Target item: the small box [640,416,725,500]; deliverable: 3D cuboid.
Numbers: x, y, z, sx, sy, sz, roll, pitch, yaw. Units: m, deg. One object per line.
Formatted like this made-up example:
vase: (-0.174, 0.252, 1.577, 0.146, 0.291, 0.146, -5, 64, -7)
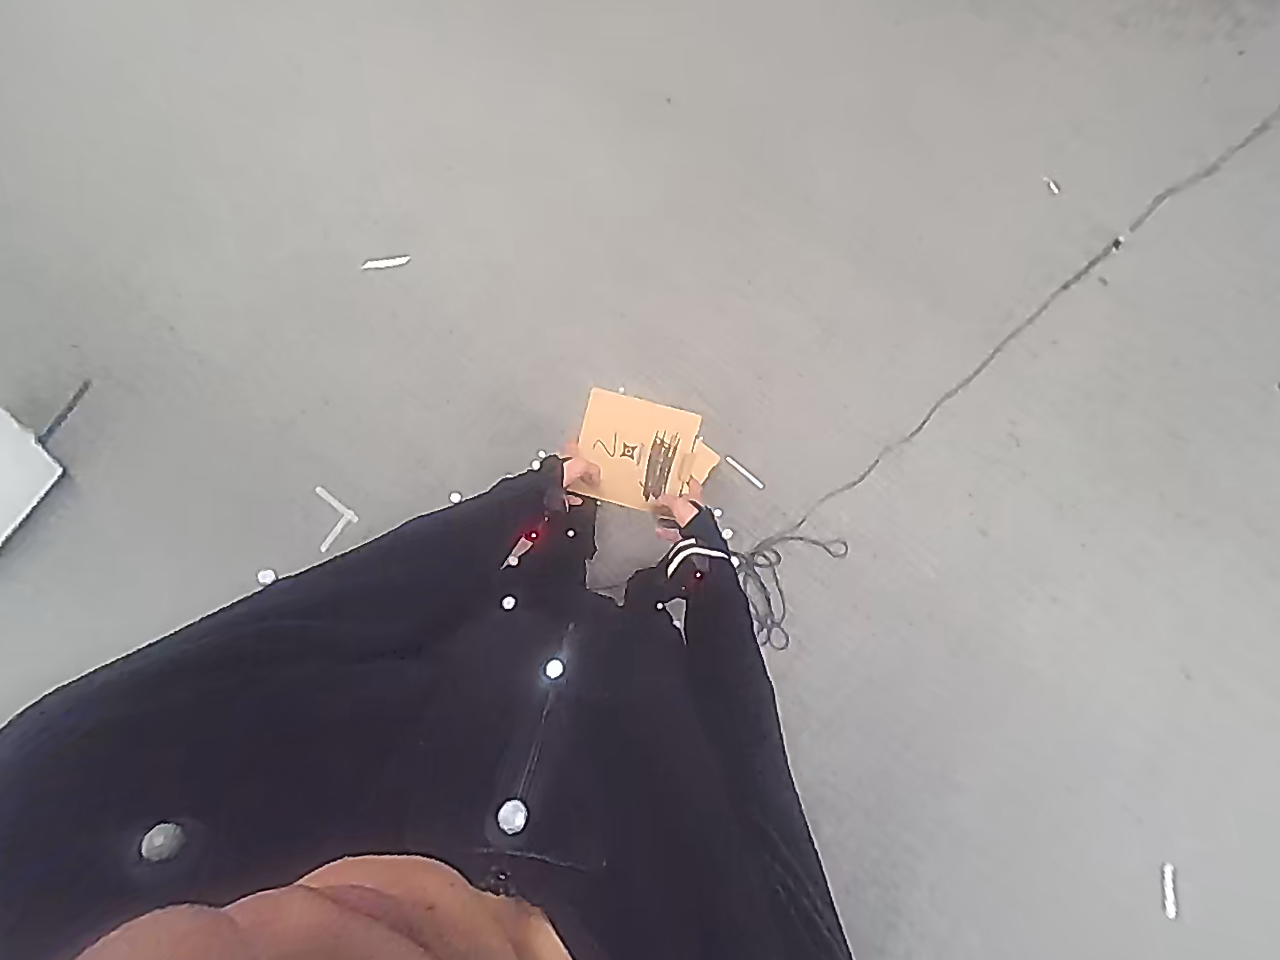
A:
small box: (0.120, -0.055, 1.546, 0.179, 0.176, 0.168, 39, 91, 5)
